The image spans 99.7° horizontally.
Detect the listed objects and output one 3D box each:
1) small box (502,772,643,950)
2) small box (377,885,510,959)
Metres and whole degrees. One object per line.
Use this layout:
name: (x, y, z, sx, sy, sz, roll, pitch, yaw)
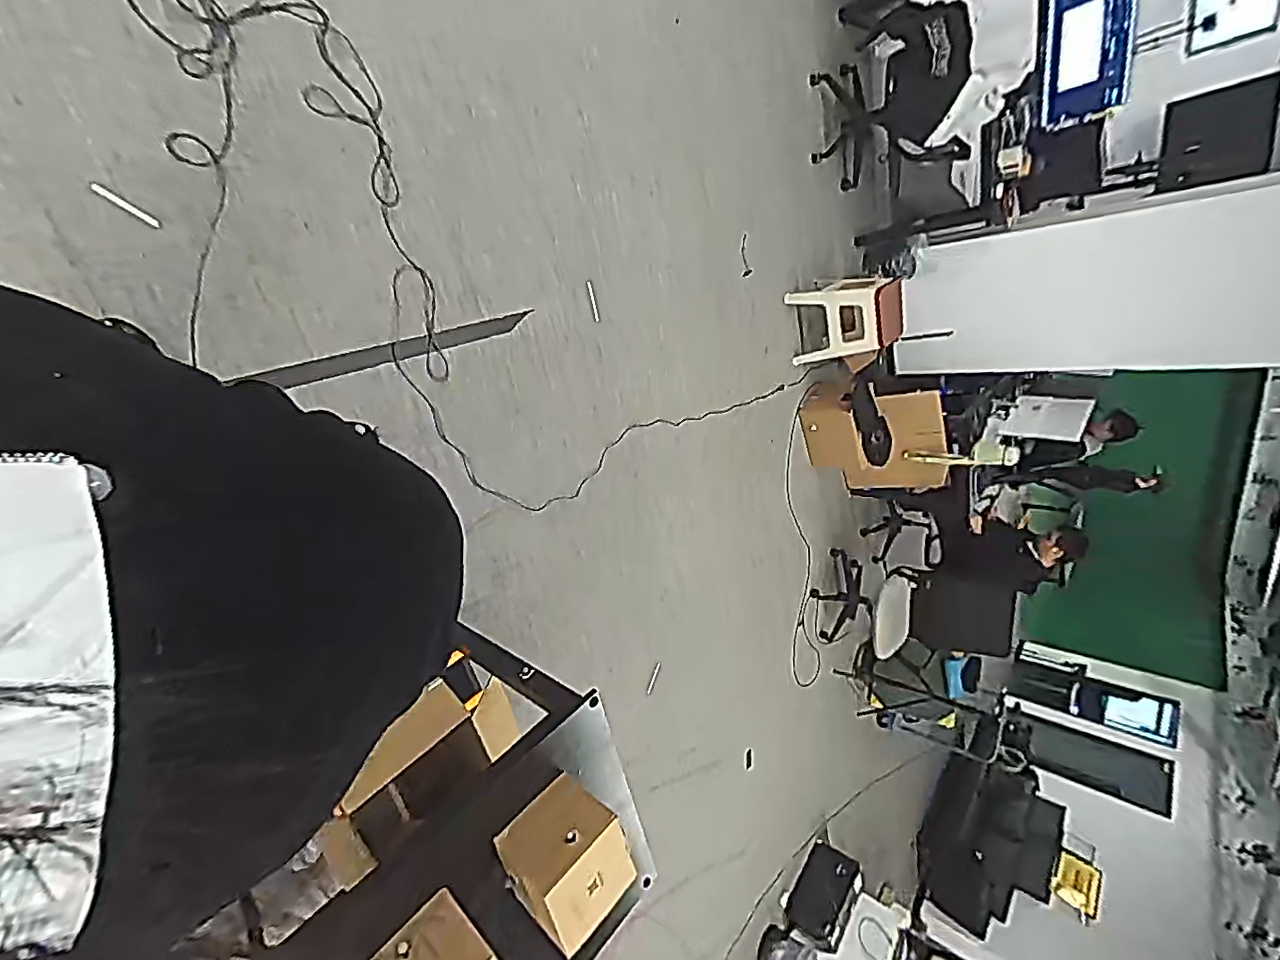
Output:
small box: (-0.125, 0.696, 1.012, 0.179, 0.176, 0.168, -31, 116, -38)
small box: (-0.300, 0.803, 0.847, 0.179, 0.176, 0.168, -33, 119, -37)
